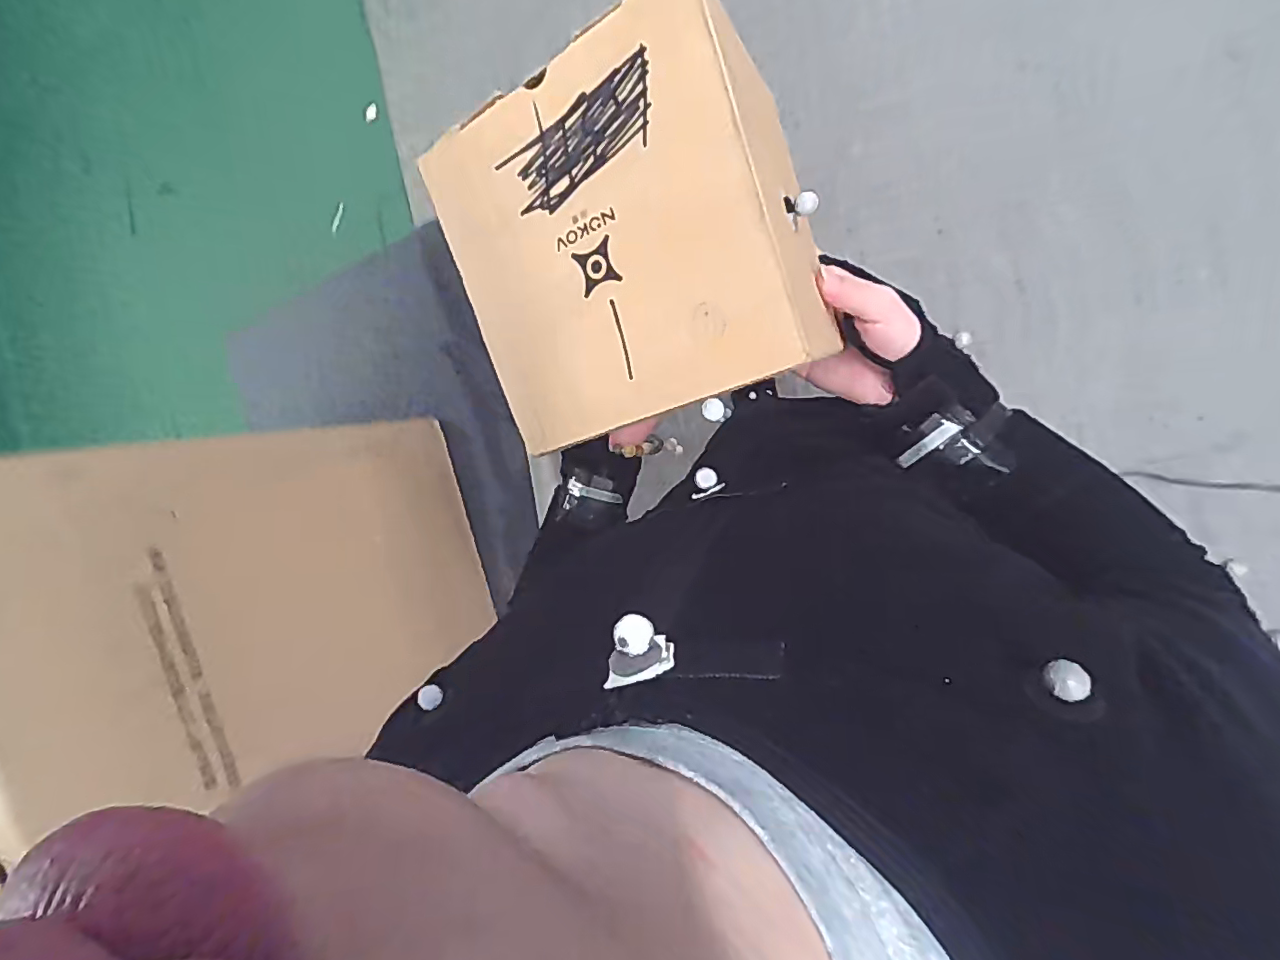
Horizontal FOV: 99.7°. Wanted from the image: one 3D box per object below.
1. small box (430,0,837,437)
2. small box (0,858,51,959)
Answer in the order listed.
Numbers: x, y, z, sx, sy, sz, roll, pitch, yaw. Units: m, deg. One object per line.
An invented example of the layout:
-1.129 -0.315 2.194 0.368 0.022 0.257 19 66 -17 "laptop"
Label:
0.014 -0.141 0.336 0.168 0.176 0.179 -14 98 28 "small box"
-0.622 0.431 0.432 0.168 0.176 0.179 -14 96 24 "small box"
